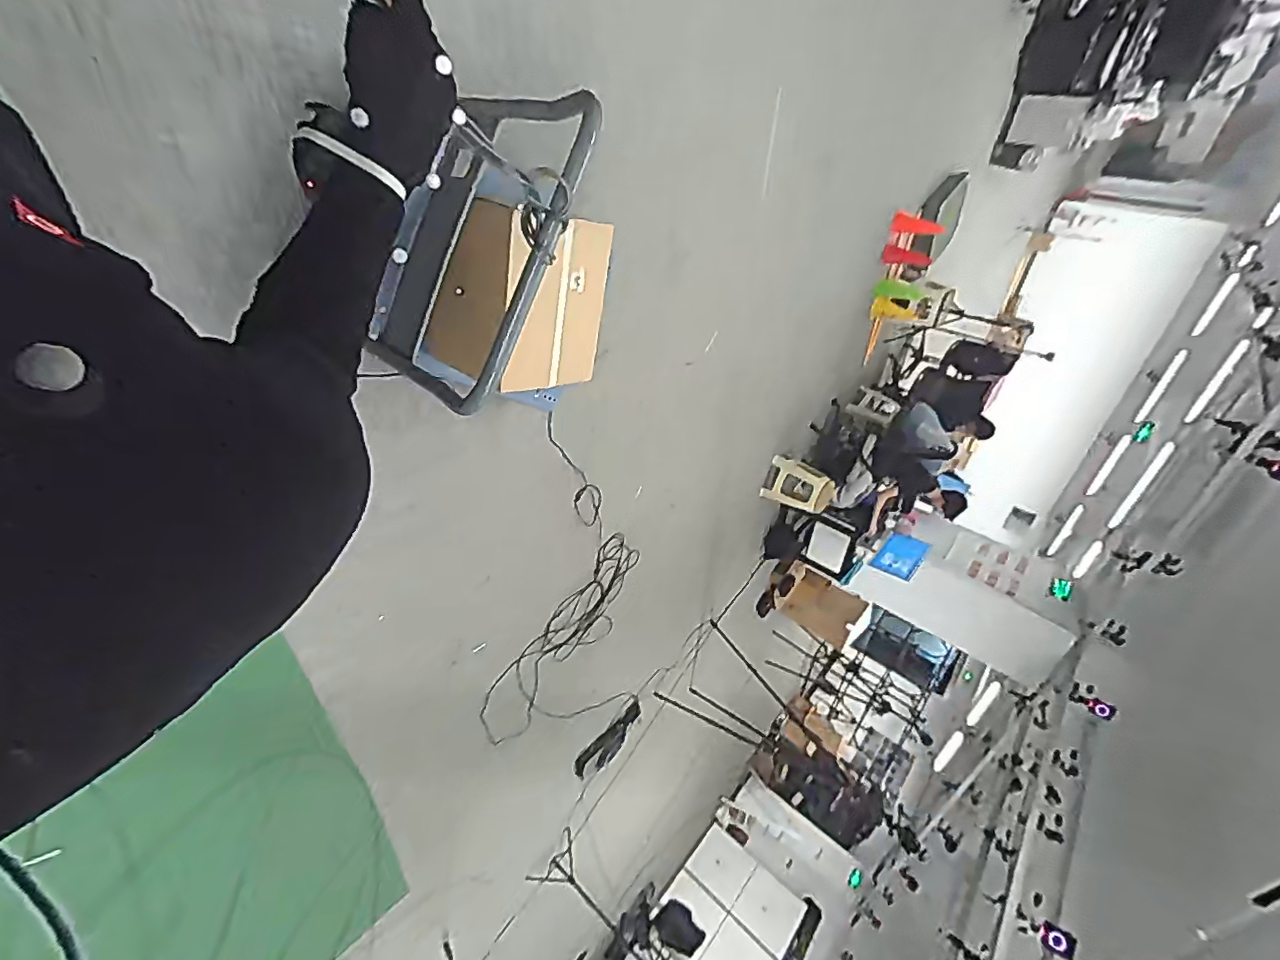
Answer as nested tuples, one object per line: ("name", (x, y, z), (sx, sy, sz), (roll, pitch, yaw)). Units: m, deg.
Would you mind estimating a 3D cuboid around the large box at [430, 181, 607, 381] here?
("large box", (-0.323, -0.505, 1.391), (0.320, 0.320, 0.408), (-21, 130, -48))
